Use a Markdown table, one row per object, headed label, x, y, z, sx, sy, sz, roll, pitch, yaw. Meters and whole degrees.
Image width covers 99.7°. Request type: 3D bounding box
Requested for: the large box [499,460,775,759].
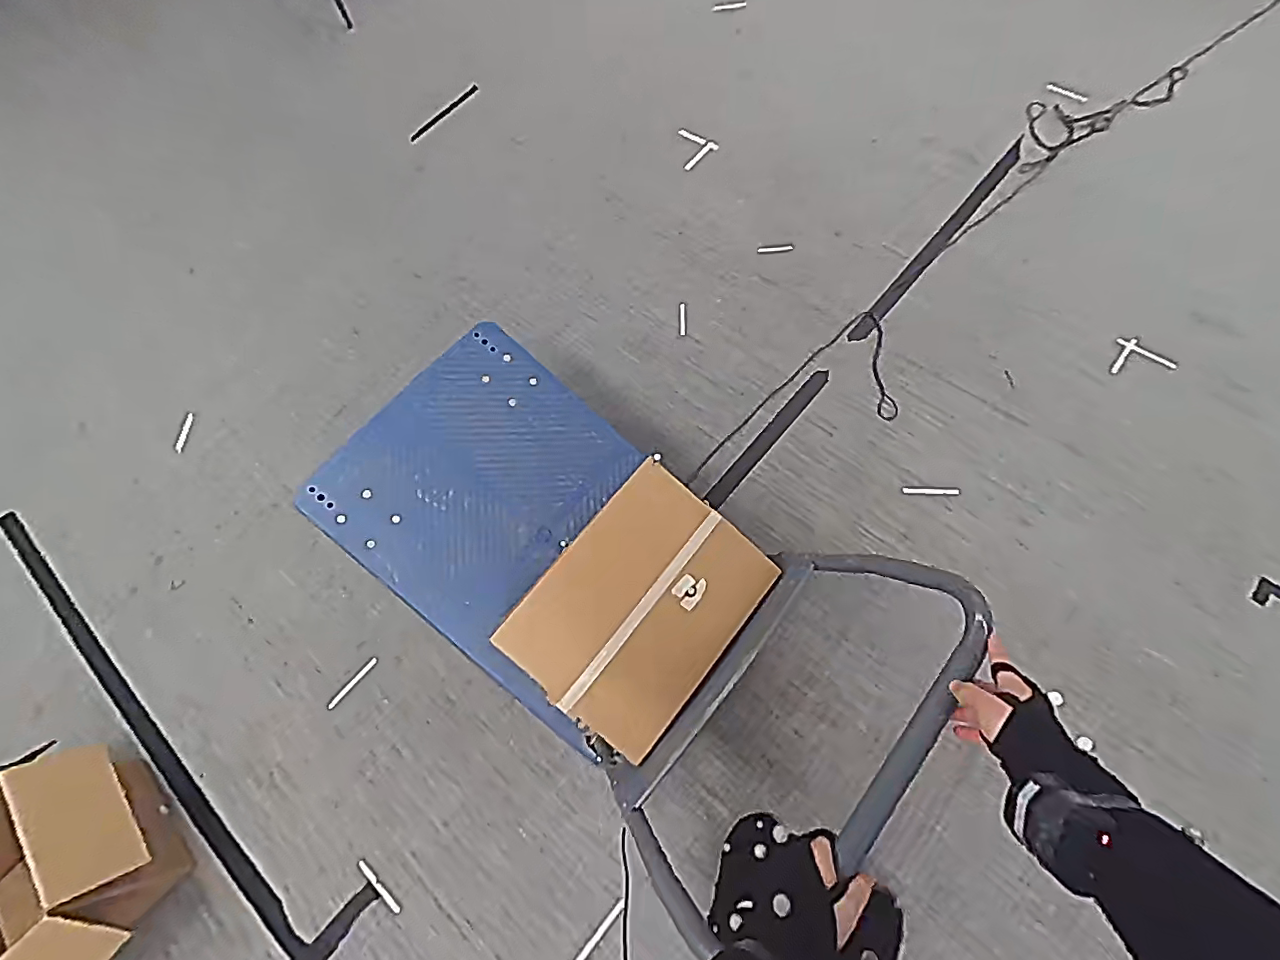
| label | x | y | z | sx | sy | sz | roll | pitch | yaw |
| --- | --- | --- | --- | --- | --- | --- | --- | --- | --- |
| large box | -0.020 | 0.235 | 1.055 | 0.320 | 0.320 | 0.408 | 41 | 75 | -2 |
